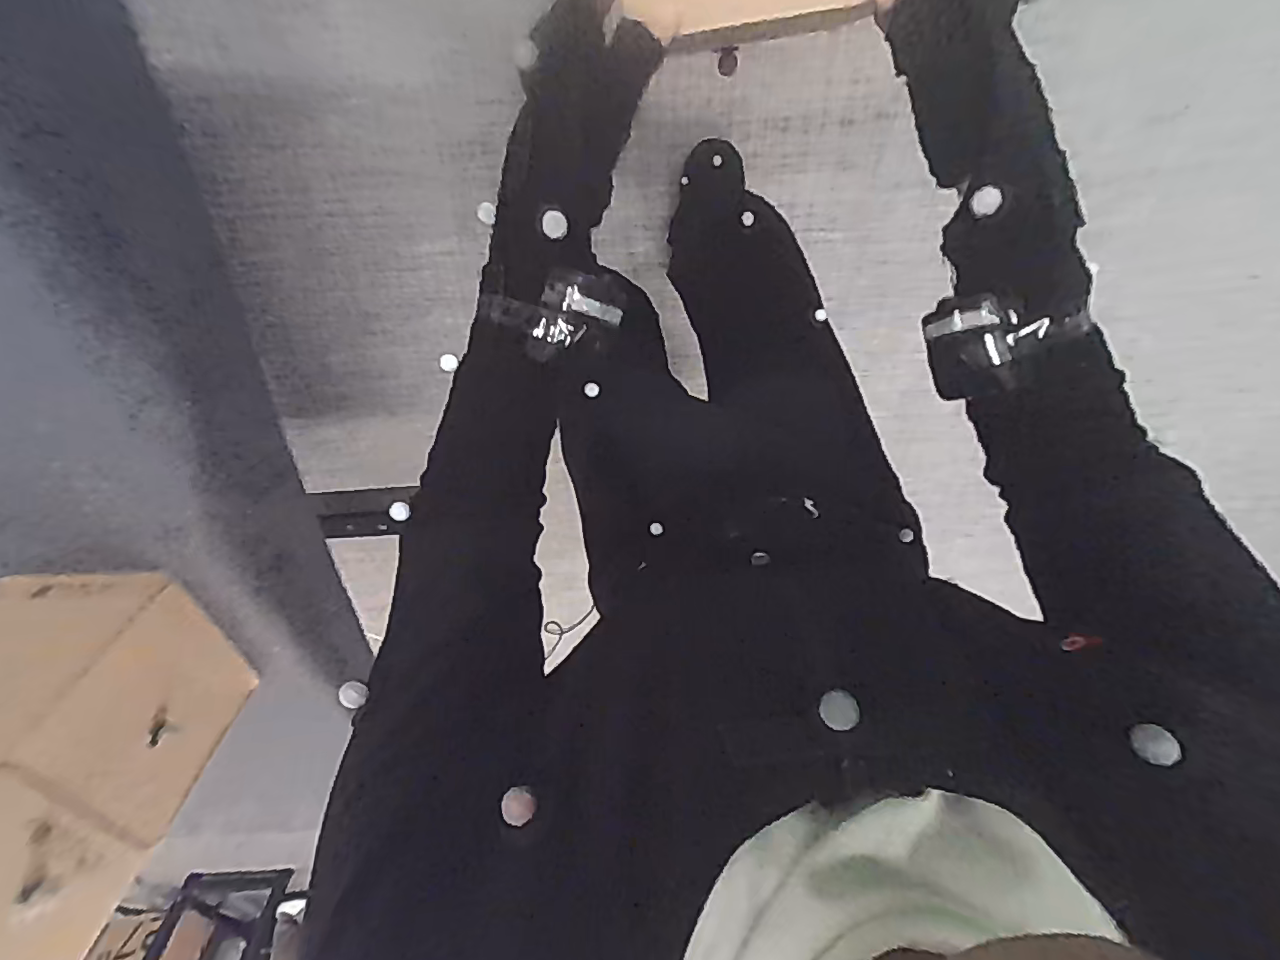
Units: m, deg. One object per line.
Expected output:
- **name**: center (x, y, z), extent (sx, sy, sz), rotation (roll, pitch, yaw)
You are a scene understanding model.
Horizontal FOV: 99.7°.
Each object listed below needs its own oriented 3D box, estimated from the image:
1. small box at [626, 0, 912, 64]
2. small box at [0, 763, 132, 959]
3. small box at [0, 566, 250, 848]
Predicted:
- **small box**: center (0.066, -0.377, 0.327), extent (0.168, 0.176, 0.179), rotation (-6, 125, 6)
- **small box**: center (-0.507, 0.296, 0.344), extent (0.179, 0.176, 0.168), rotation (-1, 127, 2)
- **small box**: center (-0.499, 0.196, 0.475), extent (0.168, 0.176, 0.179), rotation (-2, 128, 2)
